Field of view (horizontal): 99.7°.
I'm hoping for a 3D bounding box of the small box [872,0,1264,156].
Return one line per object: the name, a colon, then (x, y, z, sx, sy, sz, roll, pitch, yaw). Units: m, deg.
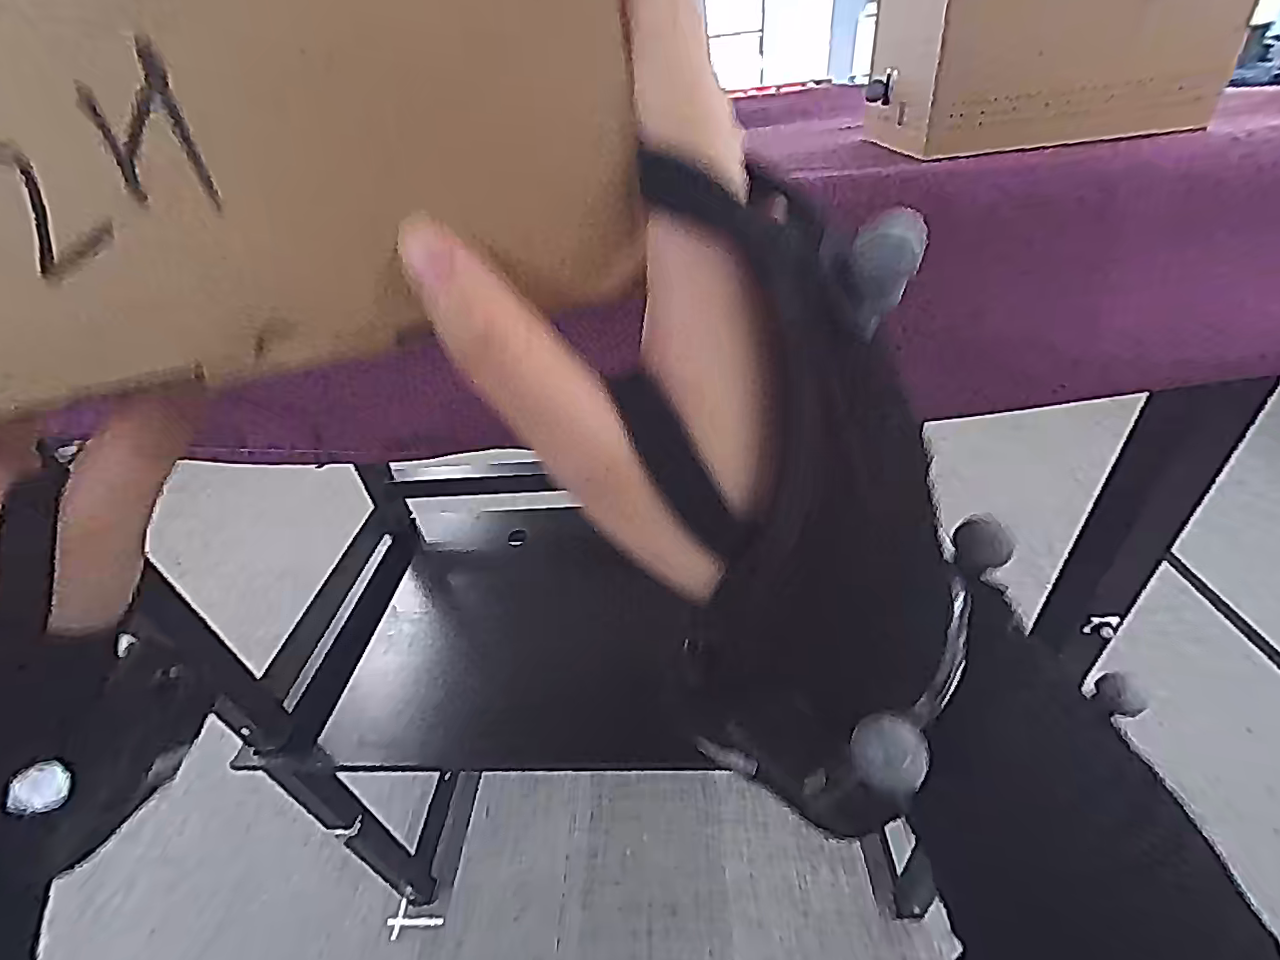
small box: (0.274, -0.331, 0.360, 0.179, 0.176, 0.168, -3, 36, 8)
